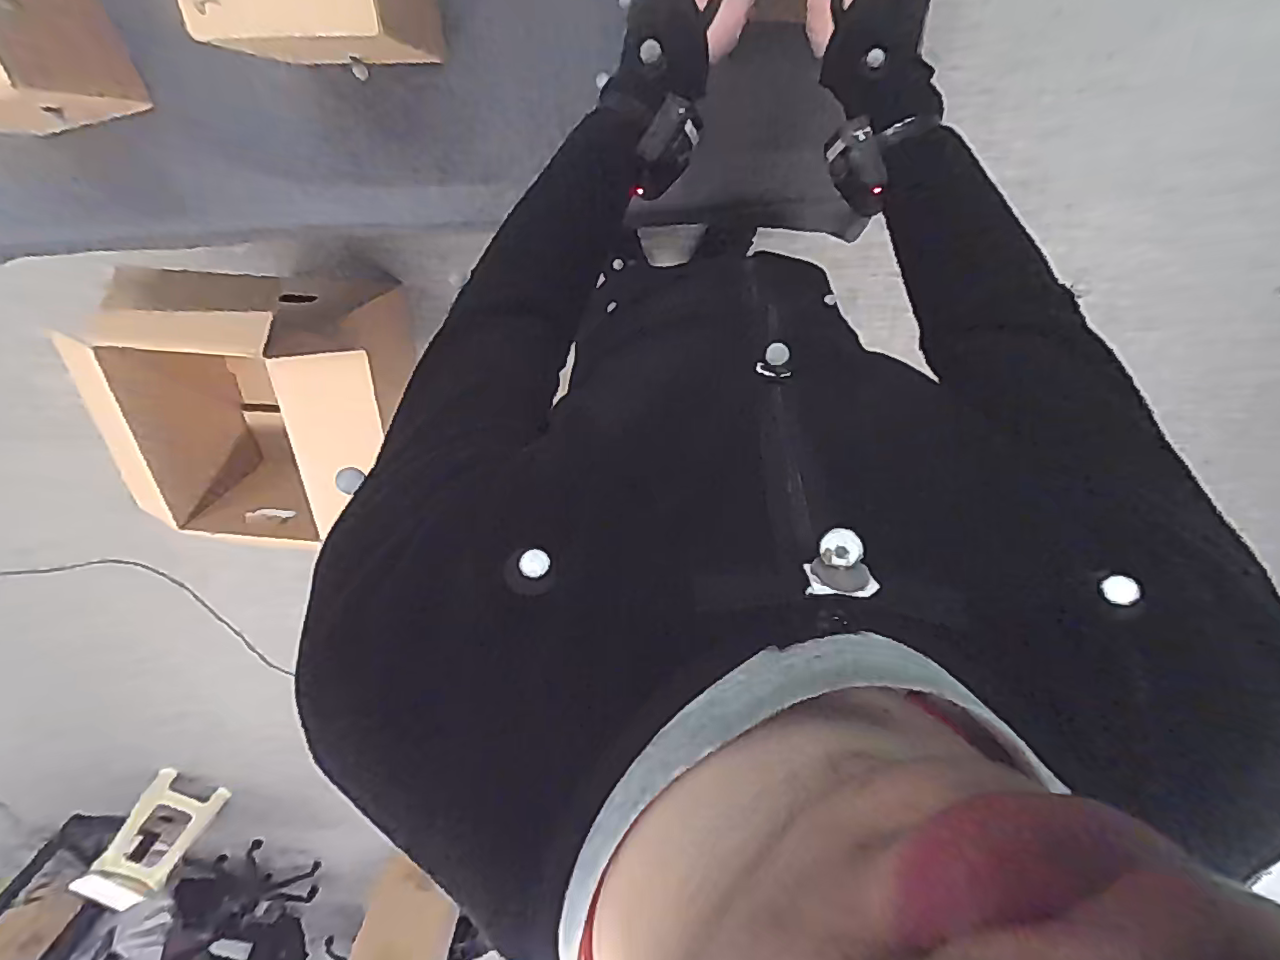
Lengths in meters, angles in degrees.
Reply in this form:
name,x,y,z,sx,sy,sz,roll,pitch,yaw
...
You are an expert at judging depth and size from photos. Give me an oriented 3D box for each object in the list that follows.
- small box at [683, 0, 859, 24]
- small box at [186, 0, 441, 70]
name,x,y,z,sx,sy,sz,roll,pitch,yaw
small box,0.128,-0.513,0.460,0.179,0.176,0.168,5,122,1
small box,-0.302,-0.497,0.504,0.179,0.176,0.168,1,121,3
